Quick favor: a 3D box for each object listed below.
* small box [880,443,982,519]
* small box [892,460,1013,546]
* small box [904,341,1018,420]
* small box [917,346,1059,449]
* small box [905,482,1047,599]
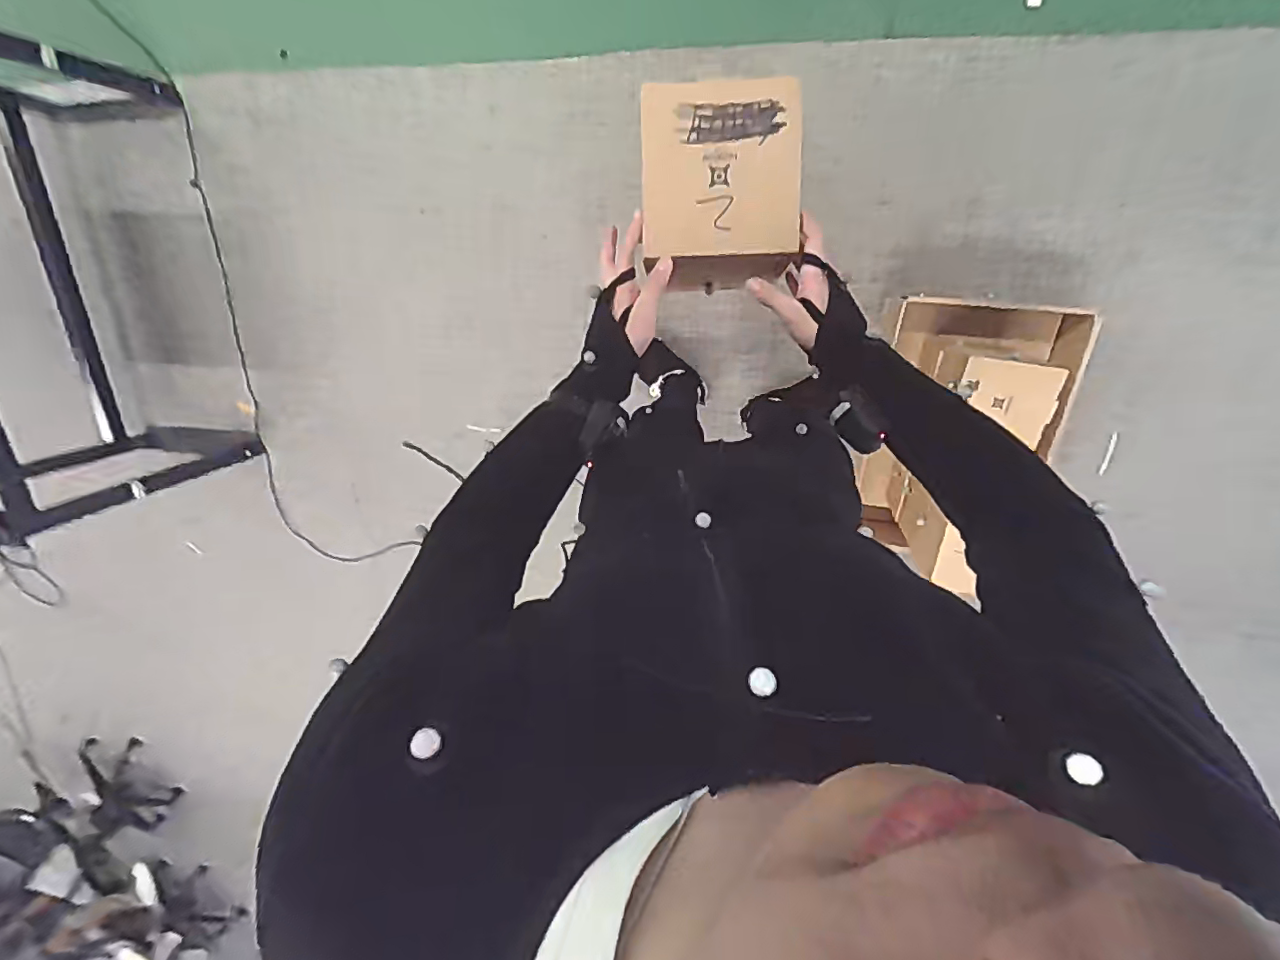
[{"bbox_3d":[0.733,0.008,1.386,0.179,0.176,0.168,7,111,11],"label":"small box"},{"bbox_3d":[0.701,0.061,1.235,0.179,0.176,0.168,10,110,10],"label":"small box"},{"bbox_3d":[0.750,-0.234,1.289,0.179,0.176,0.168,7,113,11],"label":"small box"},{"bbox_3d":[0.716,-0.180,1.137,0.179,0.176,0.168,12,112,9],"label":"small box"},{"bbox_3d":[0.659,0.112,1.085,0.179,0.176,0.168,9,110,11],"label":"small box"}]
